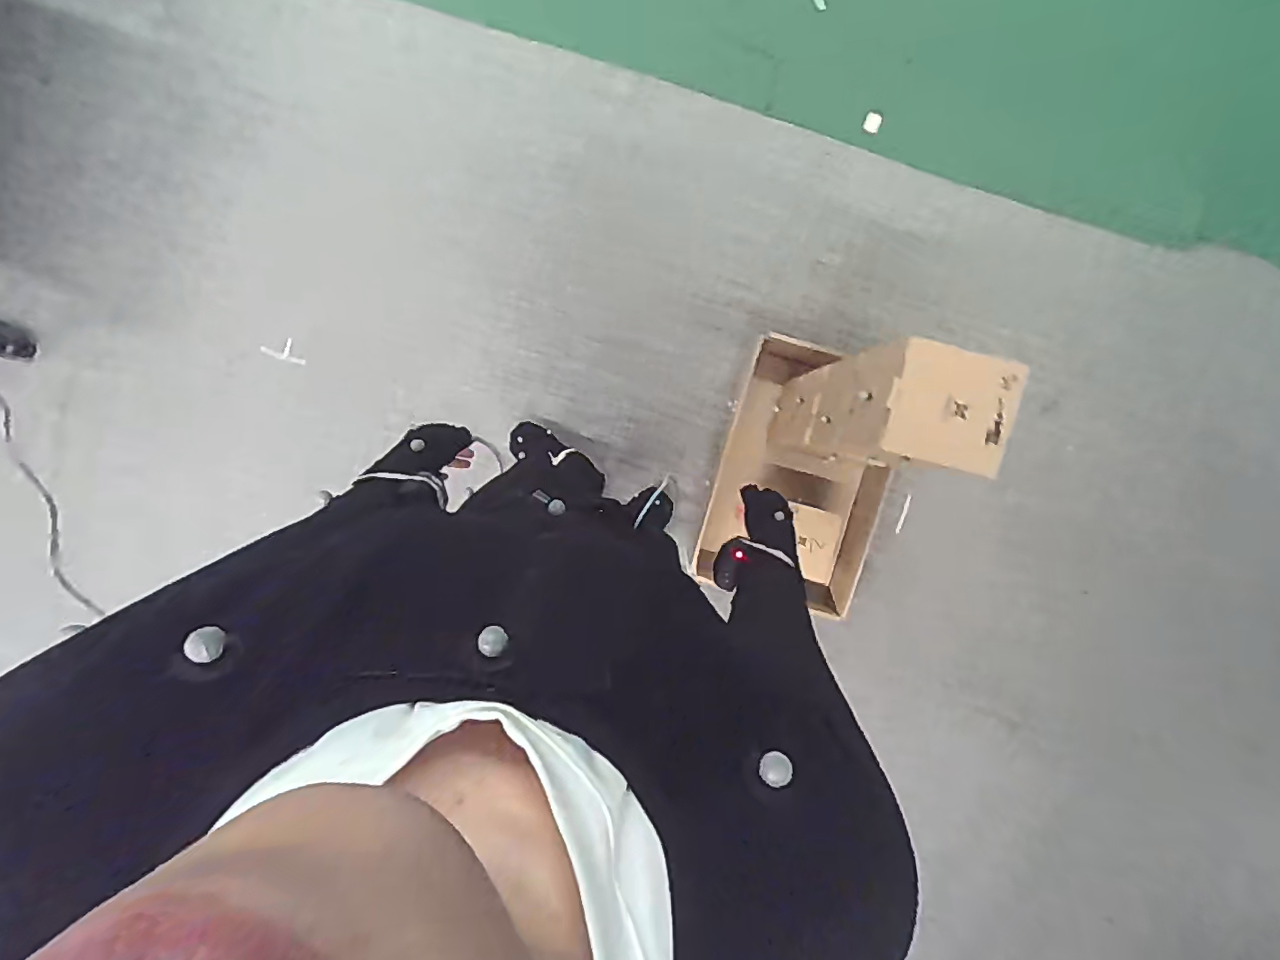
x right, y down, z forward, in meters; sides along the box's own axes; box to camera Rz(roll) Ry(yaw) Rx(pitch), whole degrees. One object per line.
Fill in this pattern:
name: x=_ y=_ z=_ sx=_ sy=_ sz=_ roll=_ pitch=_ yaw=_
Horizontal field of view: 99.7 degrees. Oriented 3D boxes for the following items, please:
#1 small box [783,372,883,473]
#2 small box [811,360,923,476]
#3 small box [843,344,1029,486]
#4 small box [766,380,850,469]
small box: x=0.433 y=-0.123 z=1.168 sx=0.179 sy=0.176 sz=0.168 roll=17 pitch=94 yaw=-1
small box: x=0.439 y=-0.111 z=1.004 sx=0.179 sy=0.176 sz=0.168 roll=15 pitch=95 yaw=-1
small box: x=0.442 y=-0.097 z=0.841 sx=0.179 sy=0.176 sz=0.168 roll=15 pitch=95 yaw=0
small box: x=0.432 y=-0.135 z=1.330 sx=0.179 sy=0.176 sz=0.168 roll=18 pitch=94 yaw=-1
